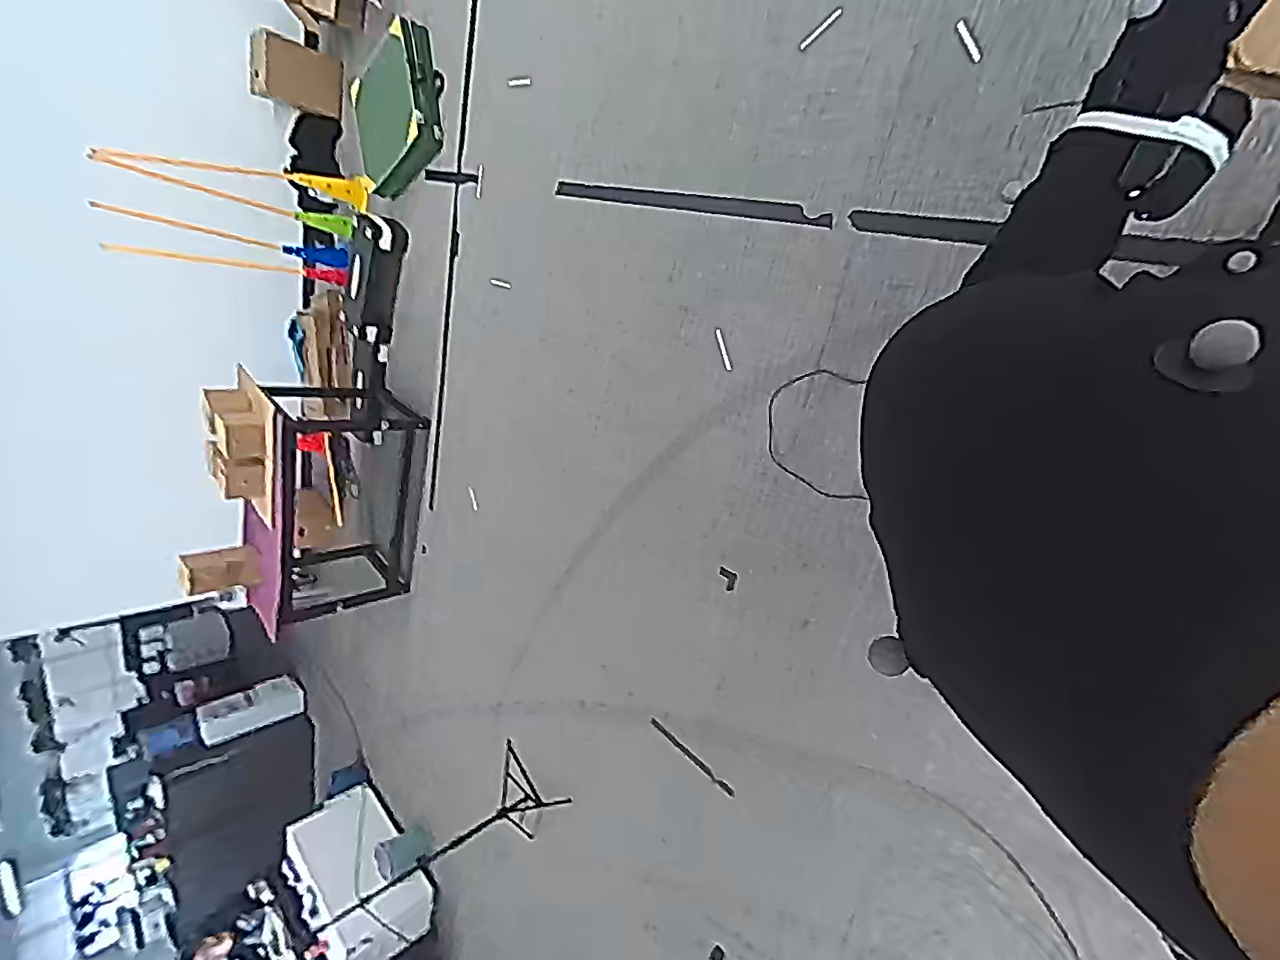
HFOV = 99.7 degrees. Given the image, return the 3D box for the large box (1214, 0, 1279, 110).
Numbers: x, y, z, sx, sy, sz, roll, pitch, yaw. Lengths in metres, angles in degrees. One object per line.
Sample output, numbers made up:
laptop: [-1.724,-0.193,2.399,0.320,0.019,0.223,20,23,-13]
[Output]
large box: [0.648,-0.364,0.275,0.408,0.320,0.320,33,135,29]
